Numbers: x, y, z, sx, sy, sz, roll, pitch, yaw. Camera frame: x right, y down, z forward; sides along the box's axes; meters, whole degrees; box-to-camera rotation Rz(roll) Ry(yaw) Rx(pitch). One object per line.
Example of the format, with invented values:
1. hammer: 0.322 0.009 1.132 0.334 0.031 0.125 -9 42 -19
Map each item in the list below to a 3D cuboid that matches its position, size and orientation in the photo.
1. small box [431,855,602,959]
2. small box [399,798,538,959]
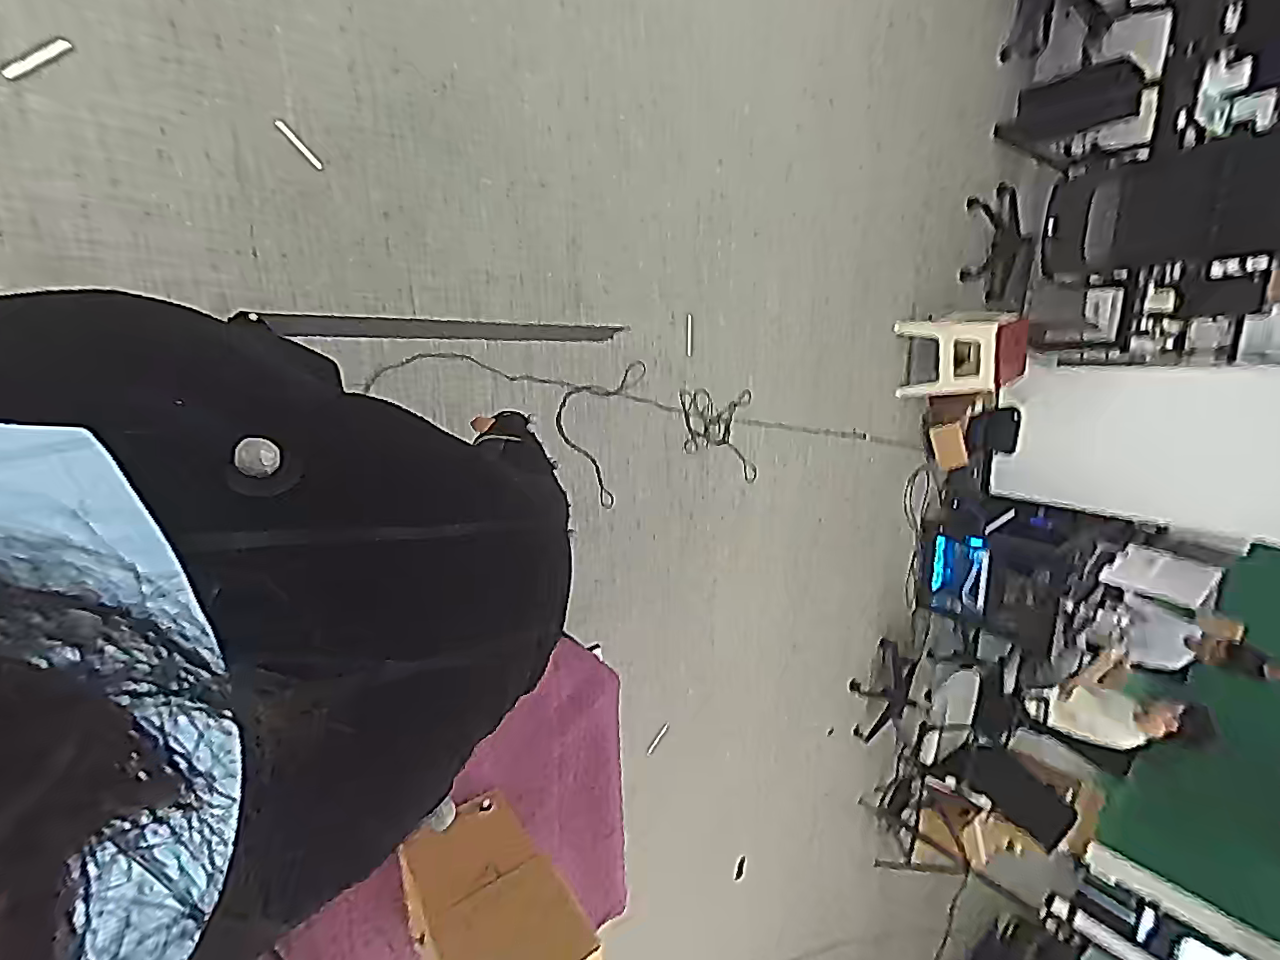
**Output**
1. small box: -0.163 0.653 0.708 0.179 0.176 0.168 -11 106 -35
2. small box: -0.262 0.635 0.838 0.168 0.176 0.179 -11 106 -35
